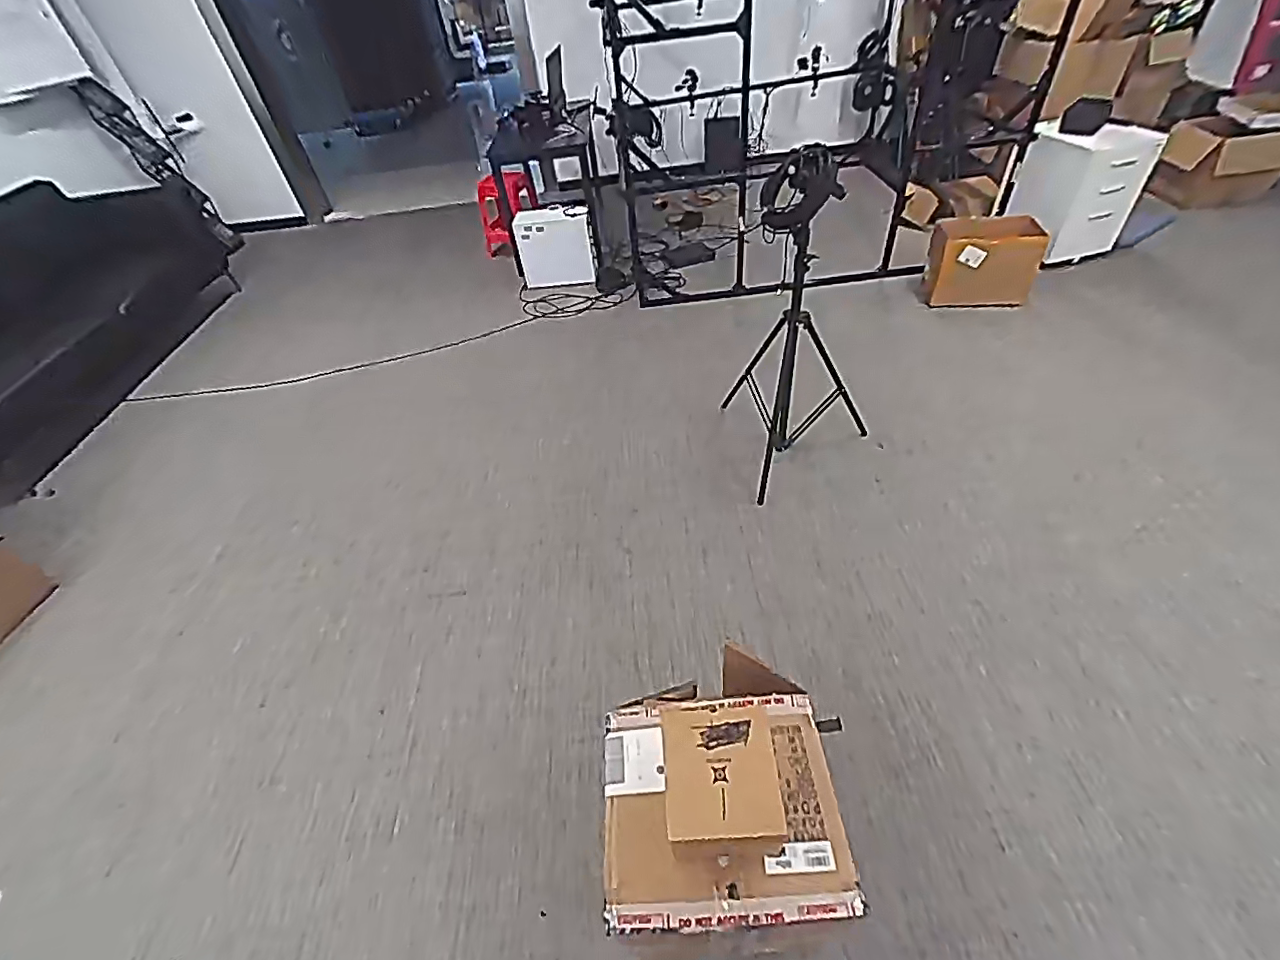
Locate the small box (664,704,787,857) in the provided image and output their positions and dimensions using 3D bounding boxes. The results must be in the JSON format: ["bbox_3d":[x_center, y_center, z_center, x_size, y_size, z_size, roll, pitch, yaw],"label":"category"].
[{"bbox_3d":[0.125,0.473,0.851,0.168,0.176,0.179,-5,48,4],"label":"small box"}]
